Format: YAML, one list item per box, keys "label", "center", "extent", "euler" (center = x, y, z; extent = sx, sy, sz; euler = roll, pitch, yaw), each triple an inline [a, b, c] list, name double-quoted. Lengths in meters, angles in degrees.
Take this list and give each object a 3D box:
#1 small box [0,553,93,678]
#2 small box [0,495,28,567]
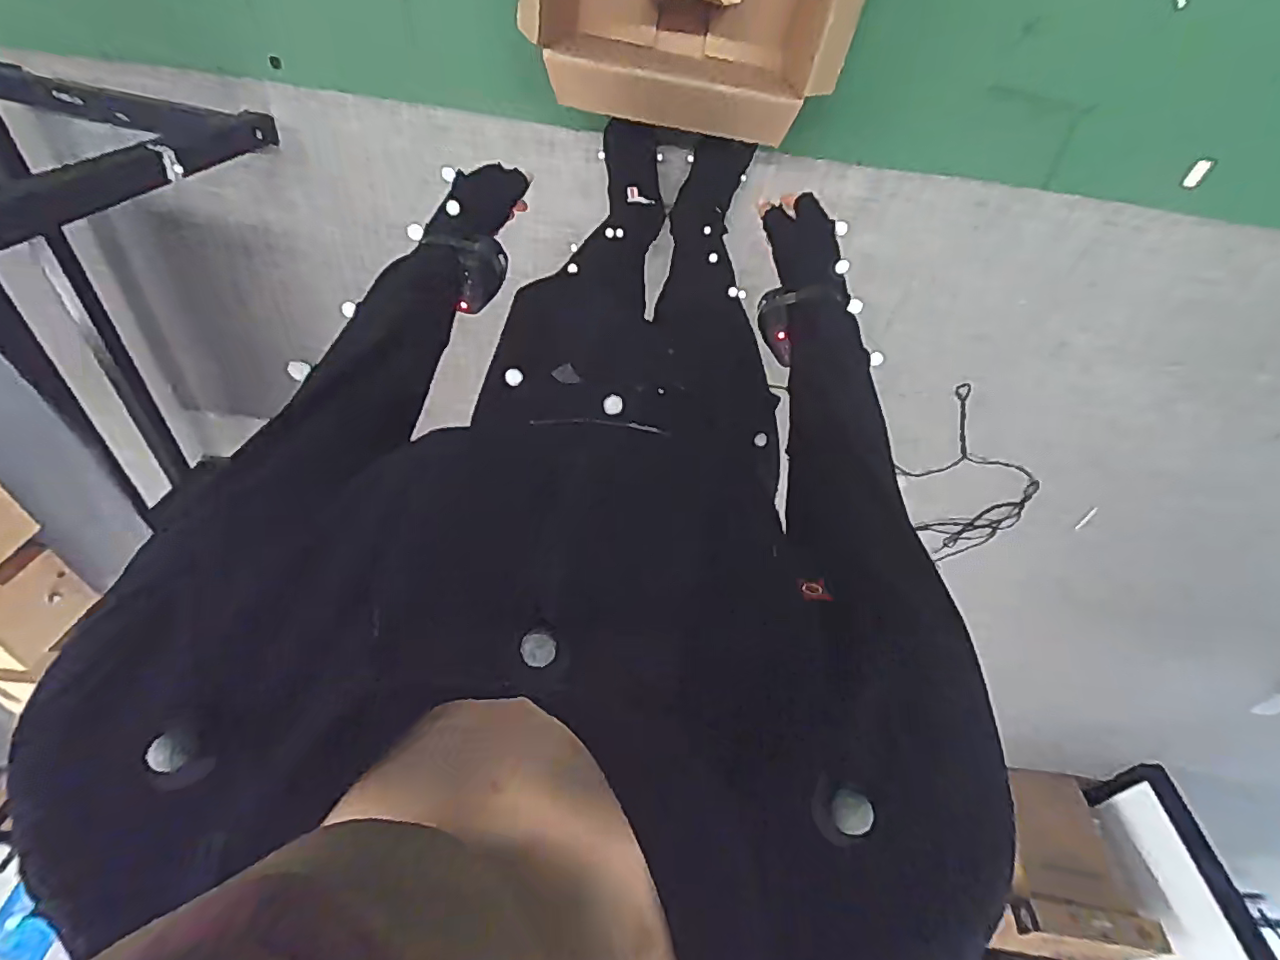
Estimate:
- label: "small box"
  center: [-1.211, 0.244, 1.009]
  extent: [0.179, 0.176, 0.168]
  euler: [7, 133, 0]
- label: "small box"
  center: [-1.160, 0.083, 0.861]
  extent: [0.179, 0.176, 0.168]
  euler: [8, 133, 0]
